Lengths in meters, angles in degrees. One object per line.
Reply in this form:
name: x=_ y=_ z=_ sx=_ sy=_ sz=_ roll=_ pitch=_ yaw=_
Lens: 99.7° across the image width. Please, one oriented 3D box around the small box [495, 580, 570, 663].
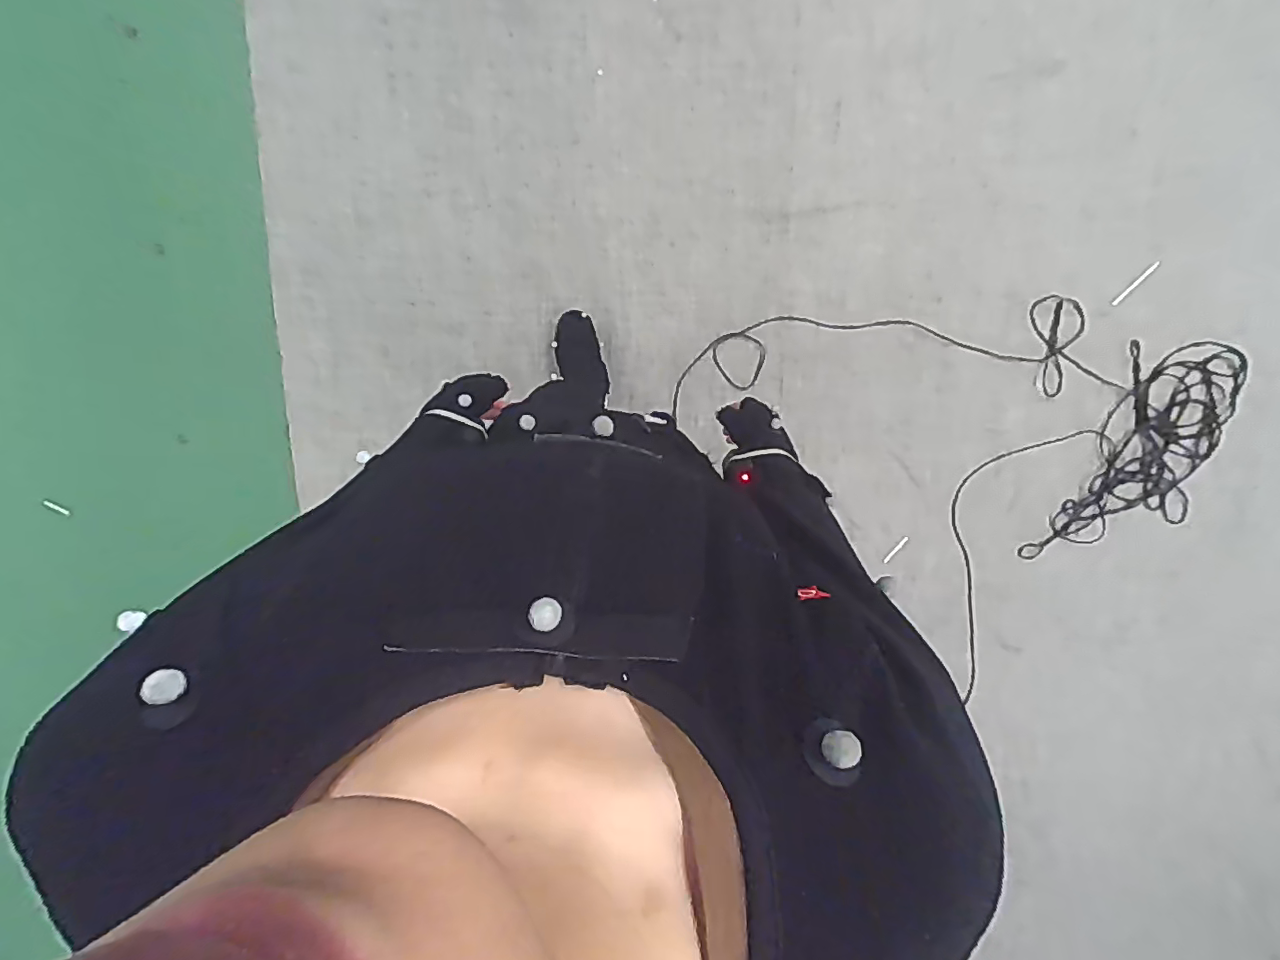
small box: x=-0.283 y=0.374 z=1.455 sx=0.168 sy=0.176 sz=0.179 roll=-1 pitch=99 yaw=2
